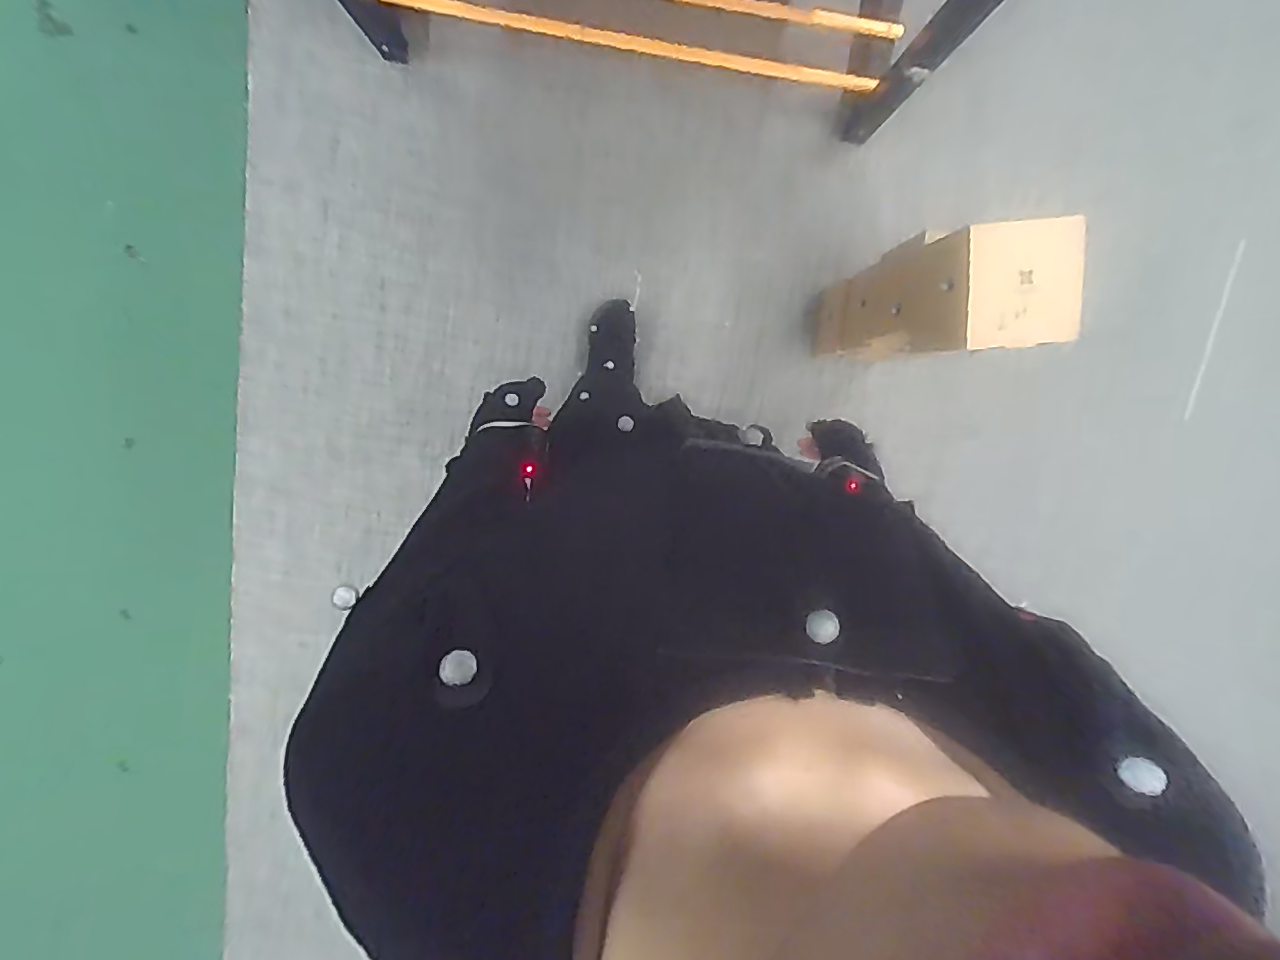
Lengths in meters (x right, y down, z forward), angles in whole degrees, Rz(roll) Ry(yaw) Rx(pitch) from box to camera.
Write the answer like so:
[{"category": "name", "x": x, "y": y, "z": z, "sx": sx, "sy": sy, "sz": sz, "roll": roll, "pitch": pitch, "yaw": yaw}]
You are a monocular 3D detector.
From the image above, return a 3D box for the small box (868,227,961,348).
[{"category": "small box", "x": 0.548, "y": -0.343, "z": 1.003, "sx": 0.168, "sy": 0.176, "sz": 0.179, "roll": 9, "pitch": 101, "yaw": -2}]

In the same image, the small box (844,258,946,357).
[{"category": "small box", "x": 0.558, "y": -0.364, "z": 1.164, "sx": 0.168, "sy": 0.176, "sz": 0.179, "roll": 6, "pitch": 99, "yaw": -2}]

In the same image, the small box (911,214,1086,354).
[{"category": "small box", "x": 0.545, "y": -0.294, "z": 0.846, "sx": 0.168, "sy": 0.176, "sz": 0.179, "roll": -4, "pitch": 101, "yaw": 1}]
